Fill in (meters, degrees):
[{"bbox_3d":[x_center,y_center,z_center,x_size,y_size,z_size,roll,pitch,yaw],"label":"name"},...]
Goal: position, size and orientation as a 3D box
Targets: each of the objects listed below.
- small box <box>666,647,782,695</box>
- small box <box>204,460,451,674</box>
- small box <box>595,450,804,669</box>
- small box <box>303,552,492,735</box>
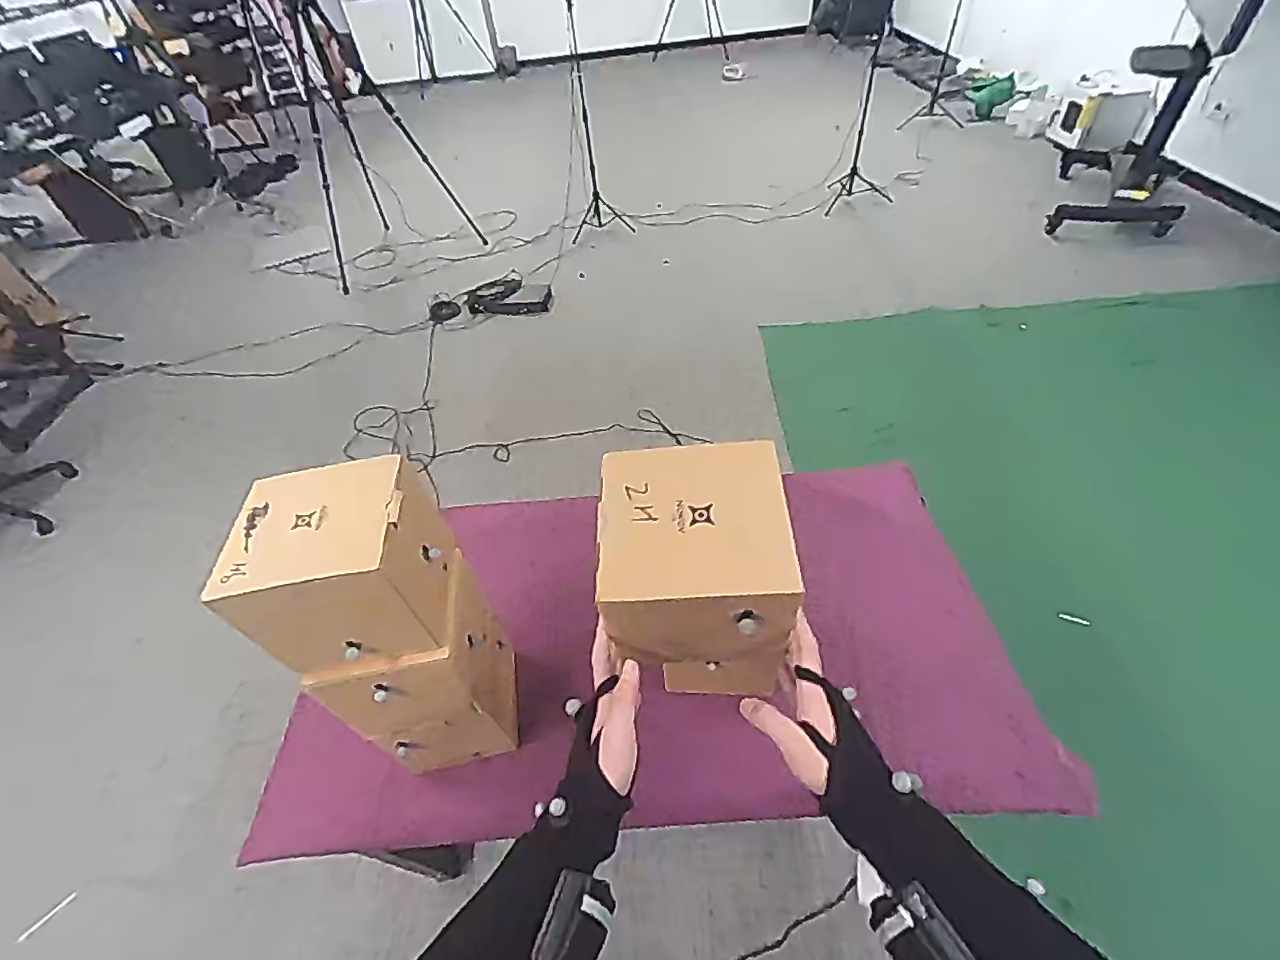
[{"bbox_3d":[0.131,0.241,0.891,0.179,0.176,0.168,0,48,6],"label":"small box"},{"bbox_3d":[-0.334,0.103,0.627,0.179,0.176,0.168,-10,46,-2],"label":"small box"},{"bbox_3d":[0.057,0.087,0.557,0.179,0.176,0.168,-4,53,6],"label":"small box"},{"bbox_3d":[-0.309,0.224,0.737,0.179,0.176,0.168,-11,47,-3],"label":"small box"}]
